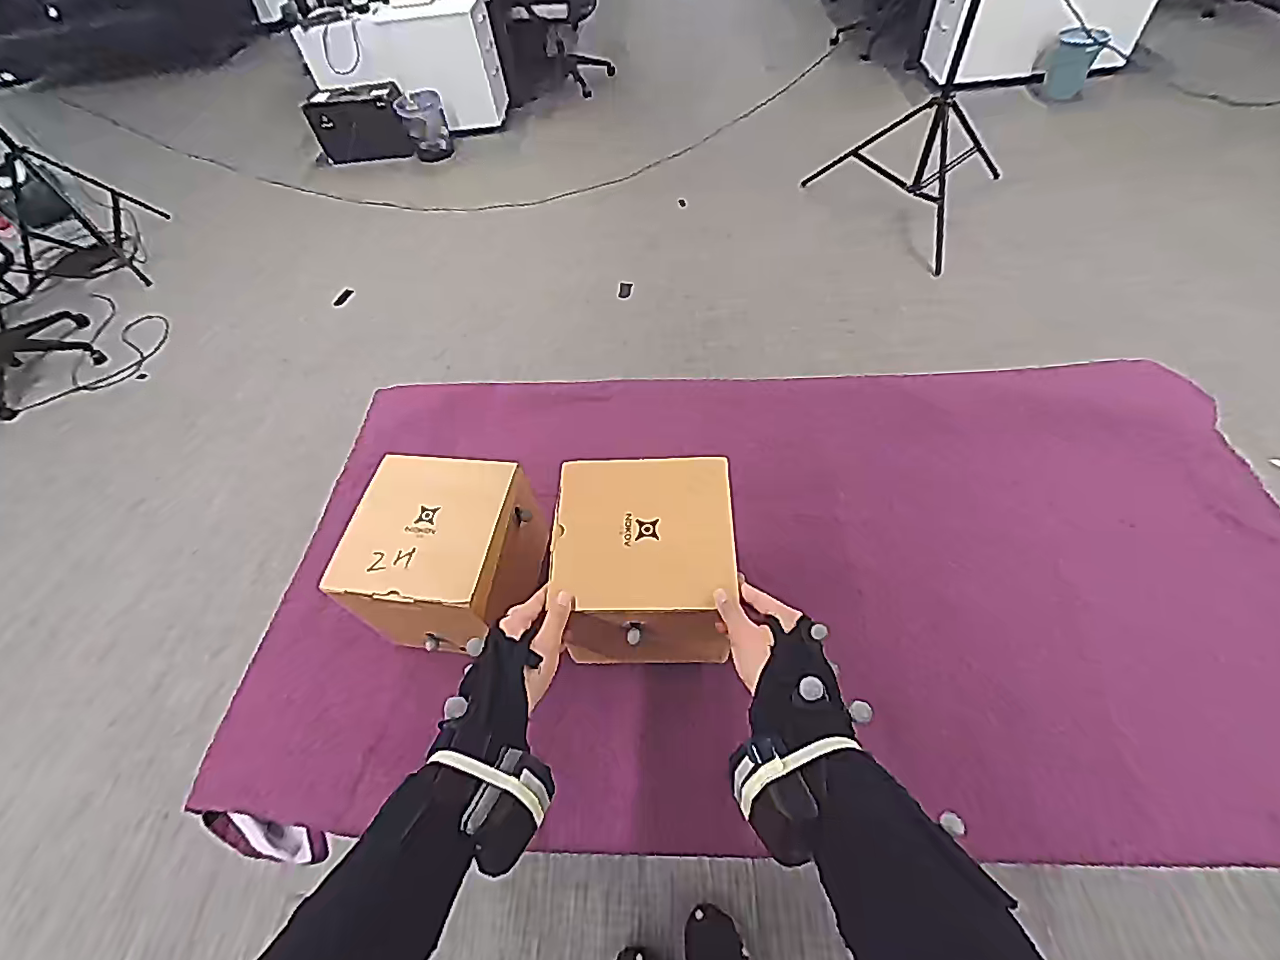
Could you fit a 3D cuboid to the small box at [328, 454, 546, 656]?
[{"bbox_3d":[-0.221,0.092,0.650,0.168,0.176,0.179,3,55,9],"label":"small box"}]
